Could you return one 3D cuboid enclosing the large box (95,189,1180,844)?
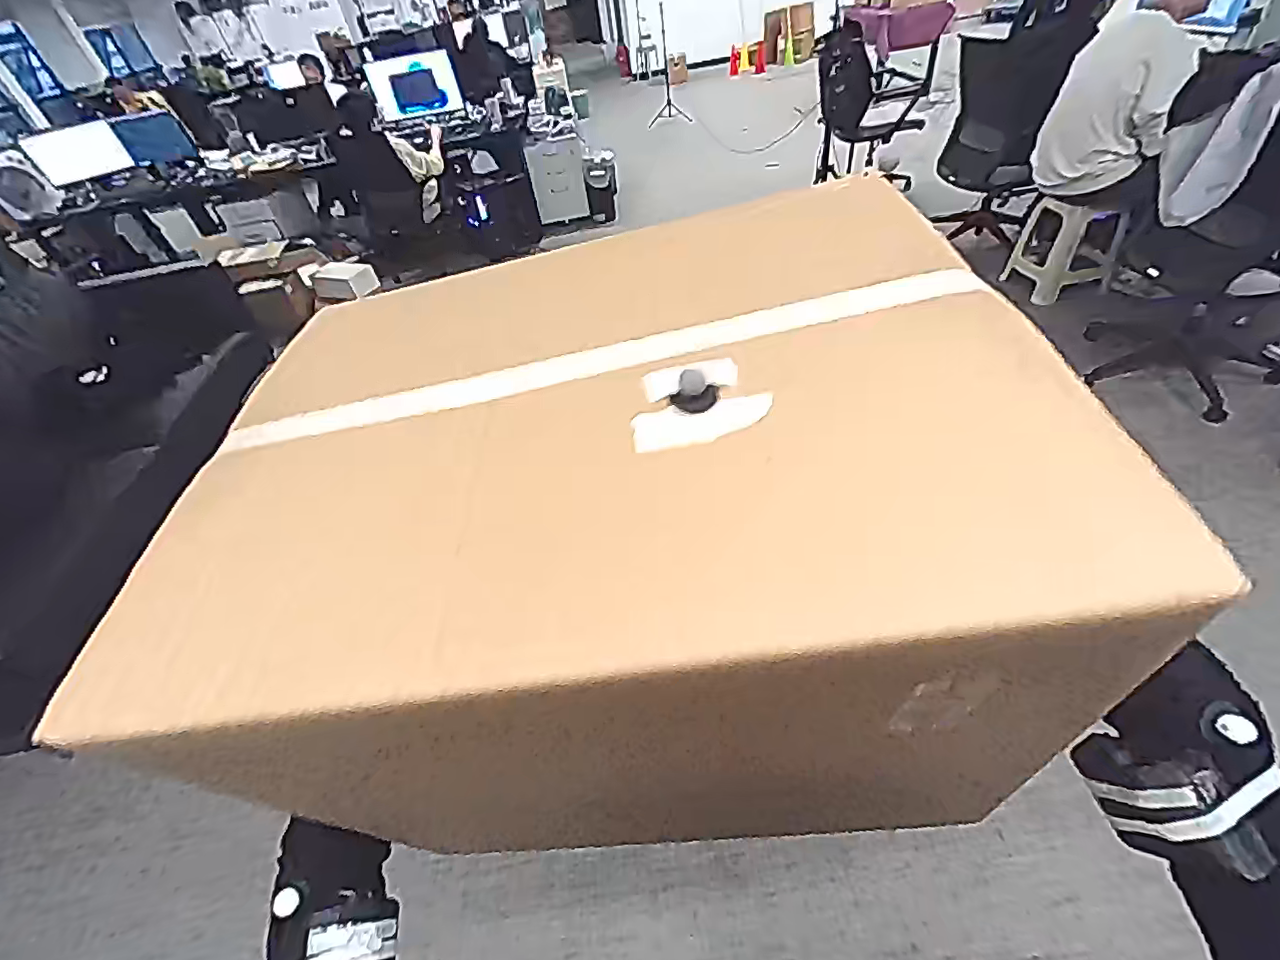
[{"bbox_3d":[0.000,0.048,0.396,0.408,0.320,0.320,-9,48,9],"label":"large box"}]
